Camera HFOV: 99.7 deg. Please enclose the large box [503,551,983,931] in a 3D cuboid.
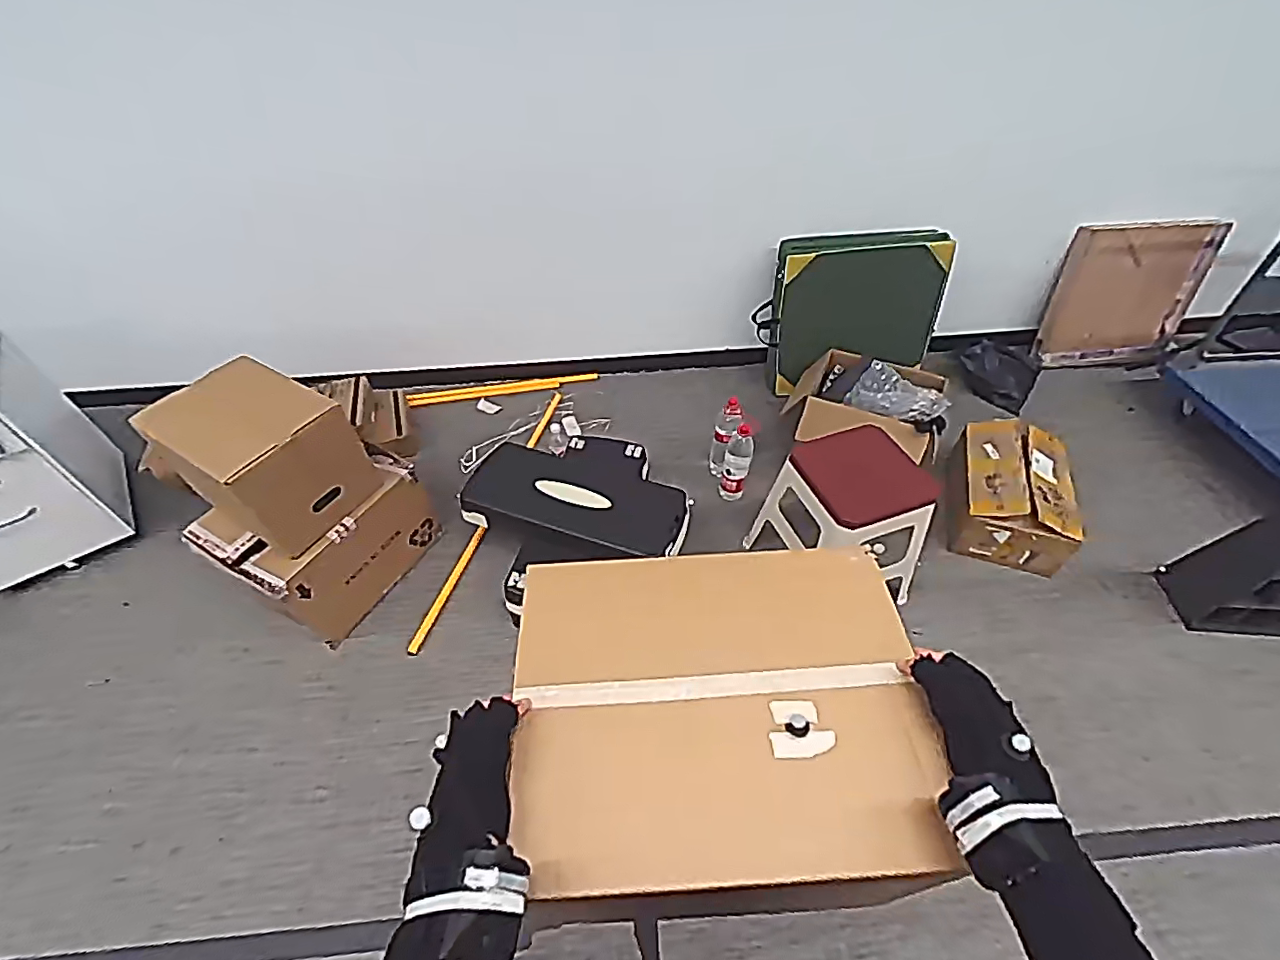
[{"bbox_3d":[0.079,0.311,0.645,0.408,0.320,0.320,-3,47,-1],"label":"large box"}]
